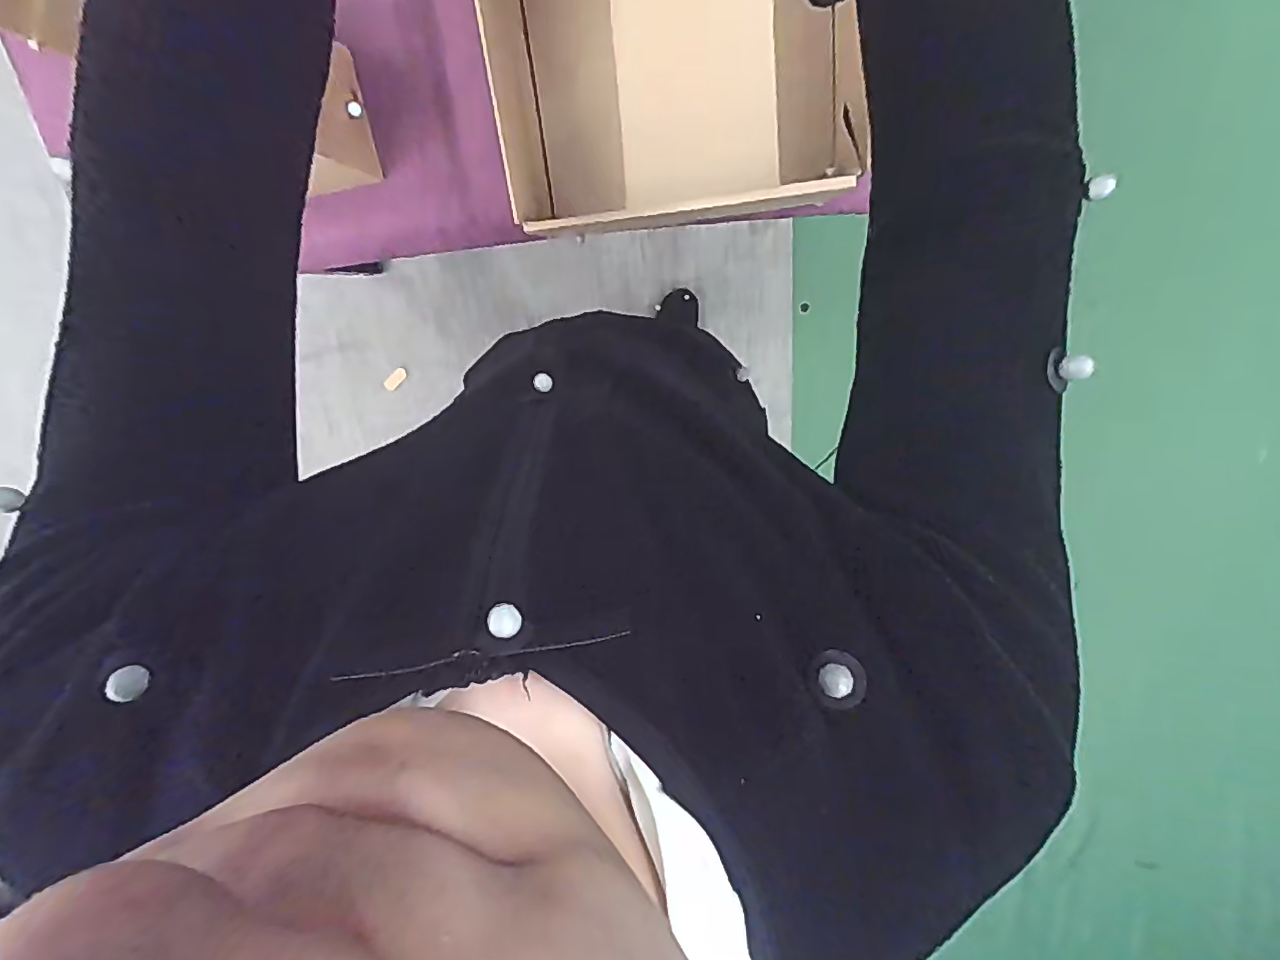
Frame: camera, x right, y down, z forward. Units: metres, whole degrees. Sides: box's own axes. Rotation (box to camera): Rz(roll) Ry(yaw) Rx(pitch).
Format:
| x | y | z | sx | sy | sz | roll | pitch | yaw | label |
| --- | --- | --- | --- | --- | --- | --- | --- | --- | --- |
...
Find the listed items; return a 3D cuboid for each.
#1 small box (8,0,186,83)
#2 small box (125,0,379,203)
| x | y | z | sx | sy | sz | roll | pitch | yaw | label |
| --- | --- | --- | --- | --- | --- | --- | --- | --- | --- |
| -0.715 | -0.632 | 0.661 | 0.179 | 0.176 | 0.168 | 35 | 108 | -7 | small box |
| -0.477 | -0.470 | 0.695 | 0.179 | 0.176 | 0.168 | -7 | 108 | 7 | small box |
